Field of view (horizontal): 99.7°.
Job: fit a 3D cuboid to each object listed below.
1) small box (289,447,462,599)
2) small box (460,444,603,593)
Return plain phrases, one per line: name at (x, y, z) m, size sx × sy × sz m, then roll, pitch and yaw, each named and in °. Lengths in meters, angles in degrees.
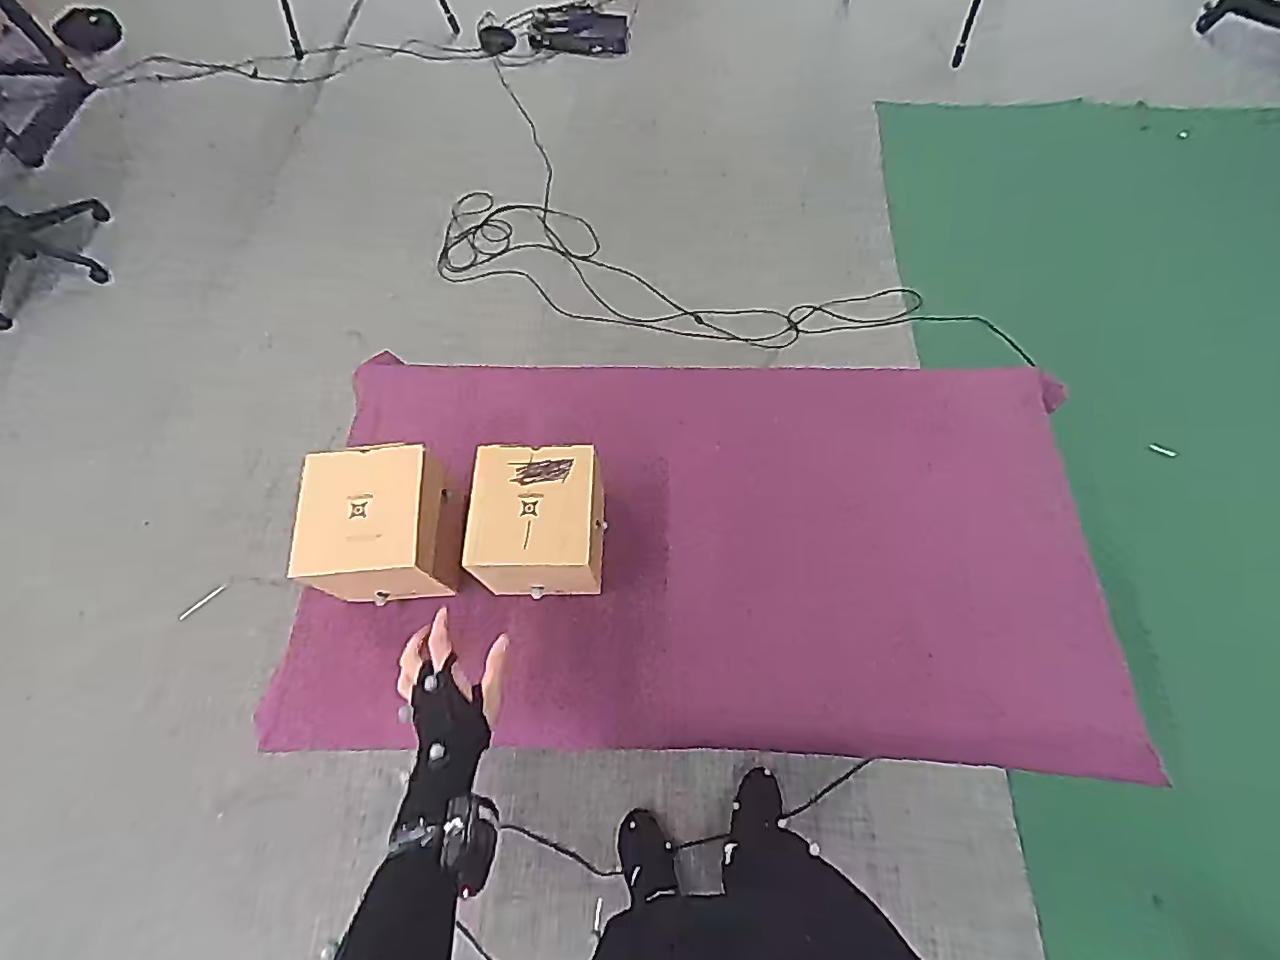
small box at (-0.374, 0.069, 0.802) m, size 0.168 × 0.176 × 0.179 m, roll -5°, pitch 66°, yaw 1°
small box at (-0.146, 0.061, 0.796) m, size 0.168 × 0.176 × 0.179 m, roll 0°, pitch 67°, yaw 3°
